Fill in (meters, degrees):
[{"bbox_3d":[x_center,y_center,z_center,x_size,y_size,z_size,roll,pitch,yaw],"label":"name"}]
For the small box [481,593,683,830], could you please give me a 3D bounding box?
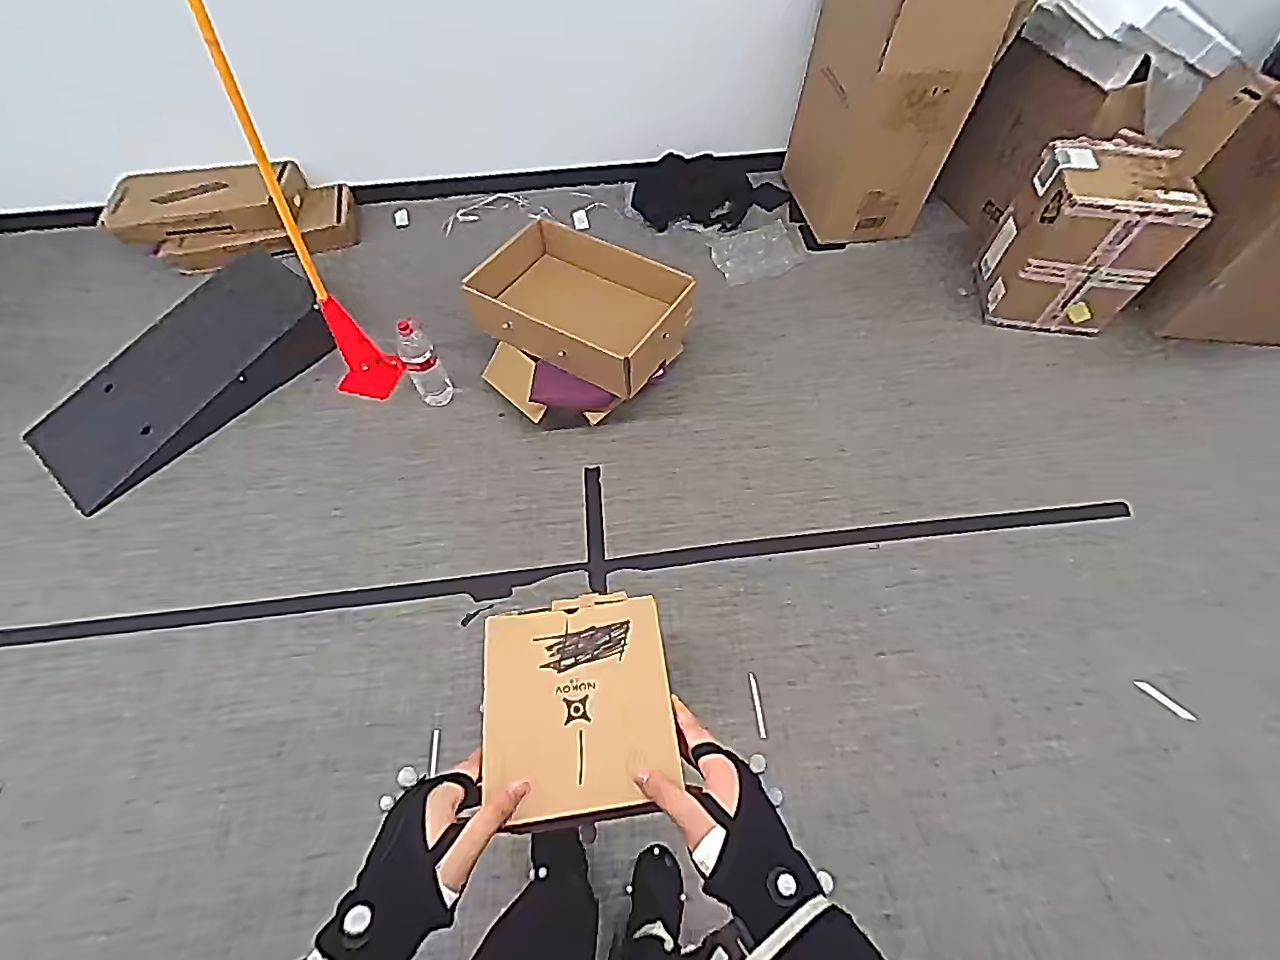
[{"bbox_3d":[-0.057,0.236,0.545,0.168,0.176,0.179,-7,56,-5],"label":"small box"}]
